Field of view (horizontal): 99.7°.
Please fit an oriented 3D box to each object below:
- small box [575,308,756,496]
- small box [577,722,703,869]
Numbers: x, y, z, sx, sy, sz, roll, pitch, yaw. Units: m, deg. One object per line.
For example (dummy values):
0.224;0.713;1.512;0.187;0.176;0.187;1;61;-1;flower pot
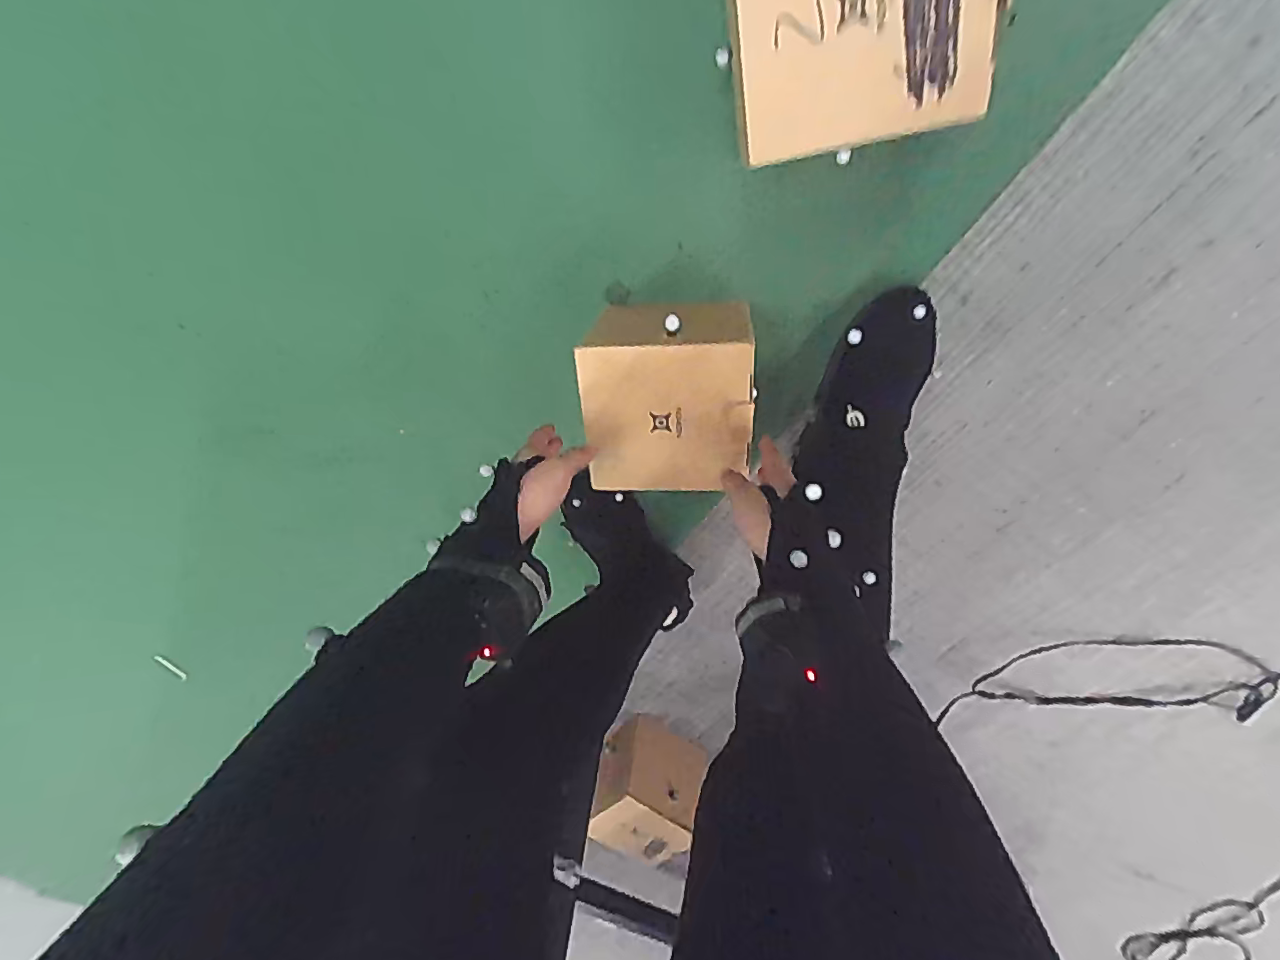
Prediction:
0.035;-0.095;0.623;0.179;0.176;0.168;-1;121;6;small box
0.007;0.607;1.048;0.179;0.176;0.168;35;118;-13;small box
